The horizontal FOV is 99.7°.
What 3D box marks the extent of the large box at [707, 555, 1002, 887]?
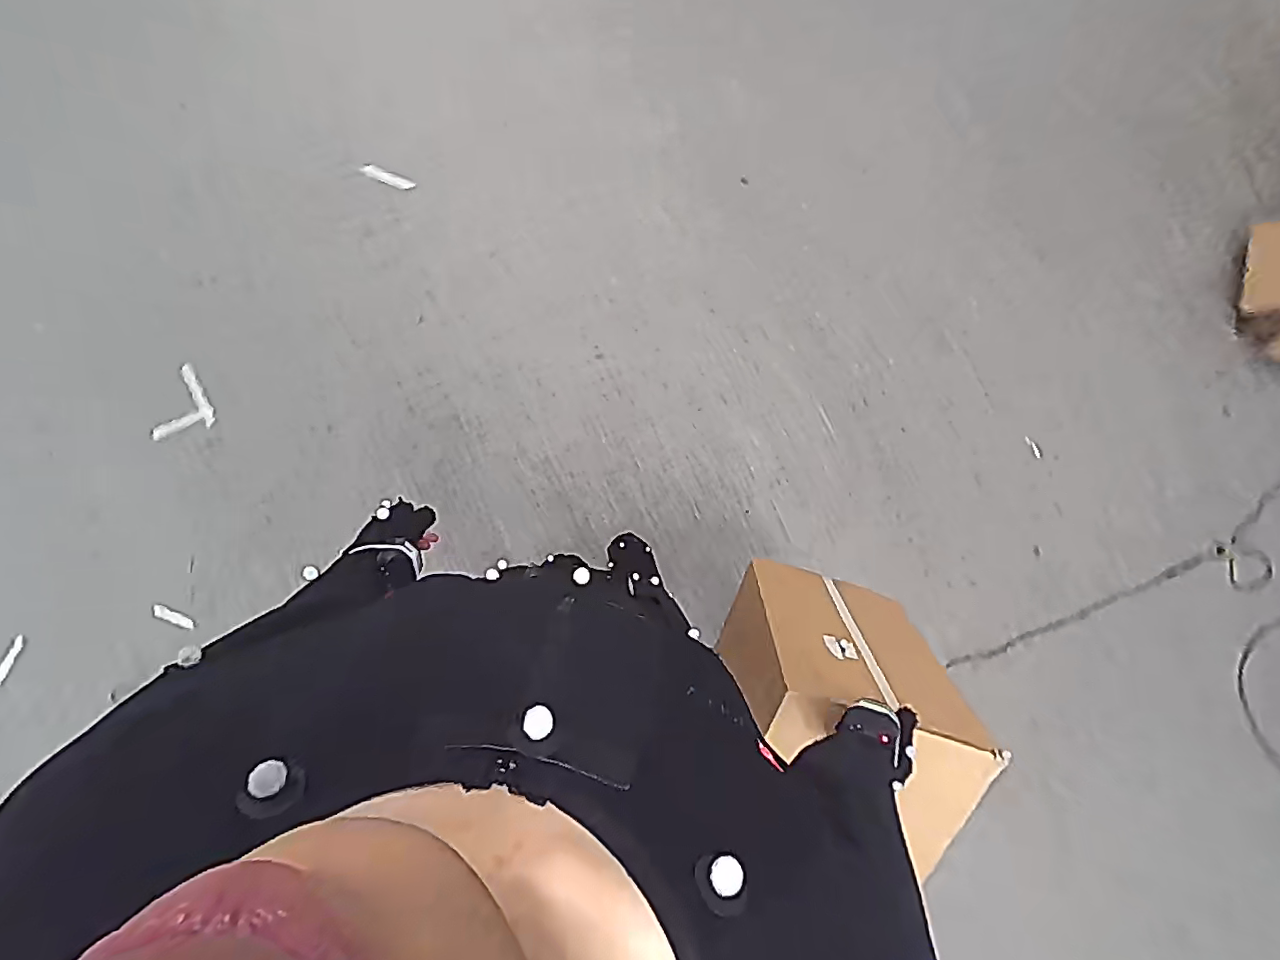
[{"bbox_3d":[0.321,0.394,0.969,0.320,0.408,0.320,16,110,-1],"label":"large box"}]
